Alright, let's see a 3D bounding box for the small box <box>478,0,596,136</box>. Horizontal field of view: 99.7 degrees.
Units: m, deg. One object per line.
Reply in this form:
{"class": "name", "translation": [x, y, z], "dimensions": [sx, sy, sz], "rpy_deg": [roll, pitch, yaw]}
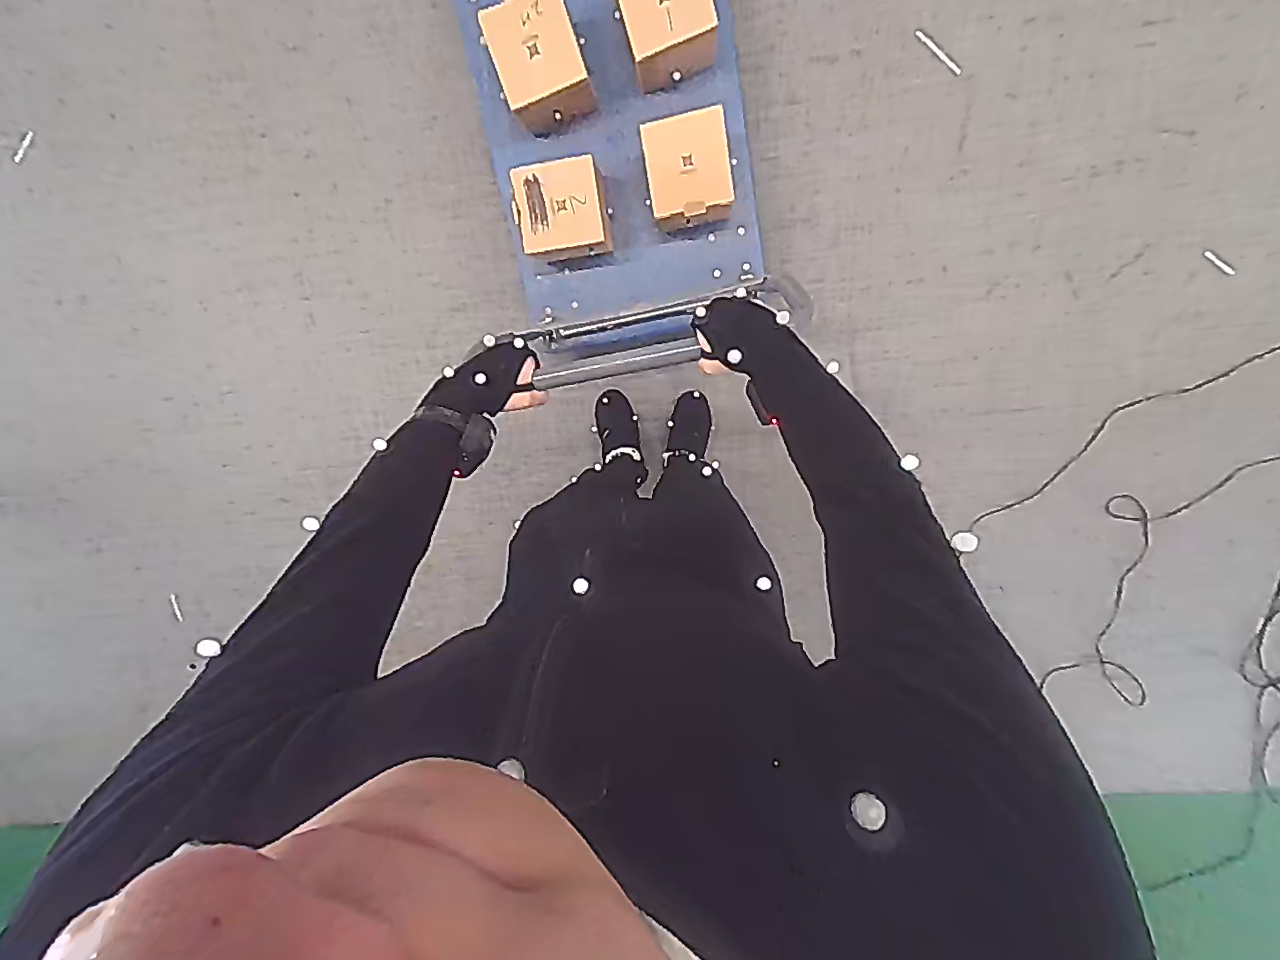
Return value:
{"class": "small box", "translation": [-0.201, -0.843, 1.116], "dimensions": [0.168, 0.176, 0.179], "rpy_deg": [-17, 104, 9]}

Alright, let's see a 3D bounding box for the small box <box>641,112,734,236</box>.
{"class": "small box", "translation": [0.101, -0.641, 1.153], "dimensions": [0.168, 0.176, 0.179], "rpy_deg": [-10, 106, 8]}

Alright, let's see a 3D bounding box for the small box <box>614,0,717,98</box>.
{"class": "small box", "translation": [0.047, -0.912, 1.076], "dimensions": [0.168, 0.176, 0.179], "rpy_deg": [-16, 105, 10]}
